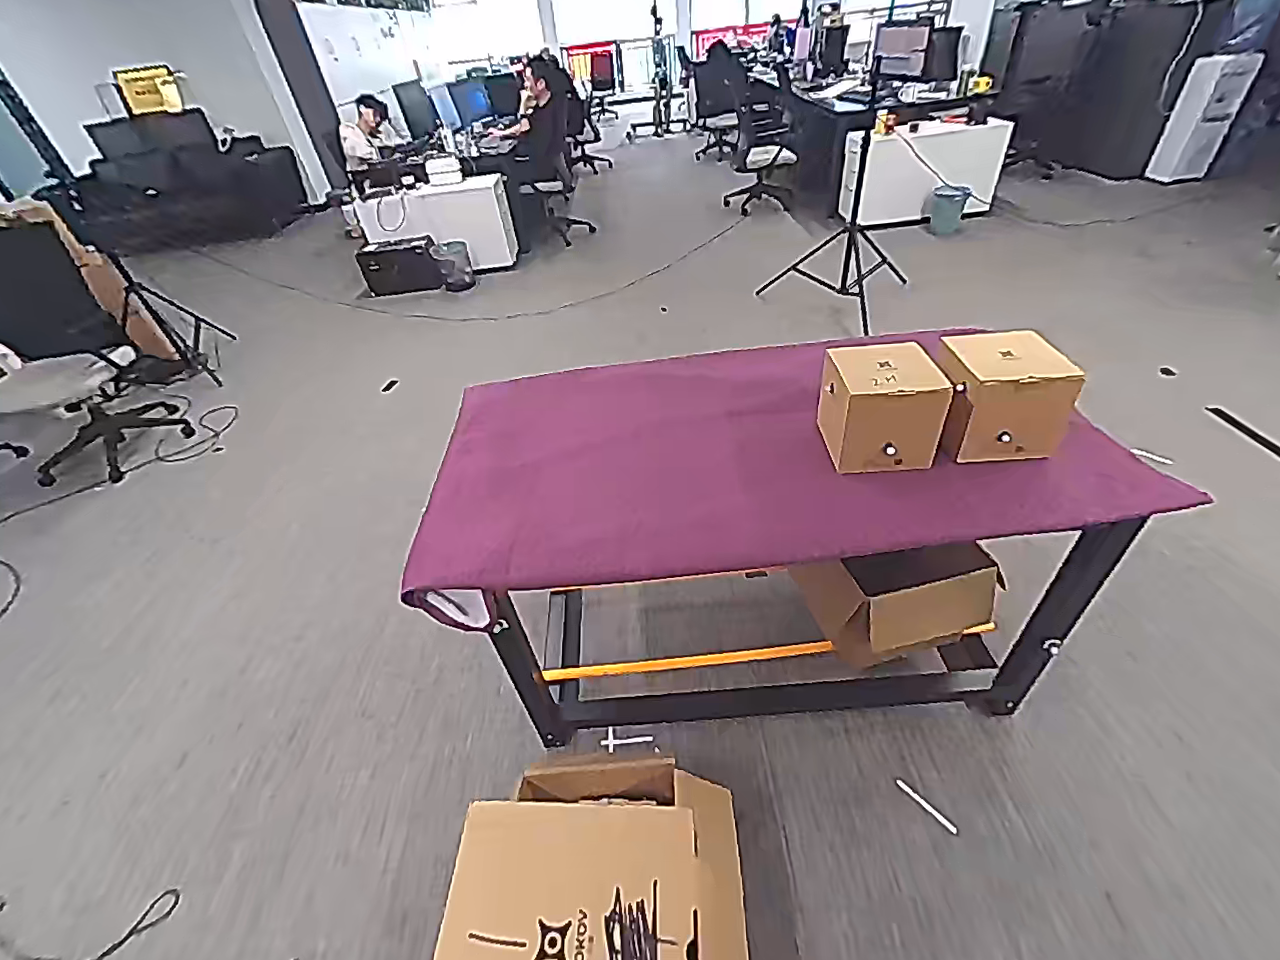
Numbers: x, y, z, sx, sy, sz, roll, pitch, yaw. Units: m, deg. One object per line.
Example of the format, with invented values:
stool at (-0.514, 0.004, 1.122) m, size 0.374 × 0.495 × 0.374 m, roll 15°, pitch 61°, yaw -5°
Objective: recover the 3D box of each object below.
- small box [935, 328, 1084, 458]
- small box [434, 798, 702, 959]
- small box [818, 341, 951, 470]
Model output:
small box at (0.644, -0.159, 0.988) m, size 0.168 × 0.176 × 0.179 m, roll -4°, pitch 39°, yaw 5°
small box at (-0.041, 0.357, 0.410) m, size 0.179 × 0.176 × 0.168 m, roll -1°, pitch 46°, yaw 6°
small box at (0.435, -0.137, 0.997) m, size 0.168 × 0.176 × 0.179 m, roll -4°, pitch 40°, yaw 5°
